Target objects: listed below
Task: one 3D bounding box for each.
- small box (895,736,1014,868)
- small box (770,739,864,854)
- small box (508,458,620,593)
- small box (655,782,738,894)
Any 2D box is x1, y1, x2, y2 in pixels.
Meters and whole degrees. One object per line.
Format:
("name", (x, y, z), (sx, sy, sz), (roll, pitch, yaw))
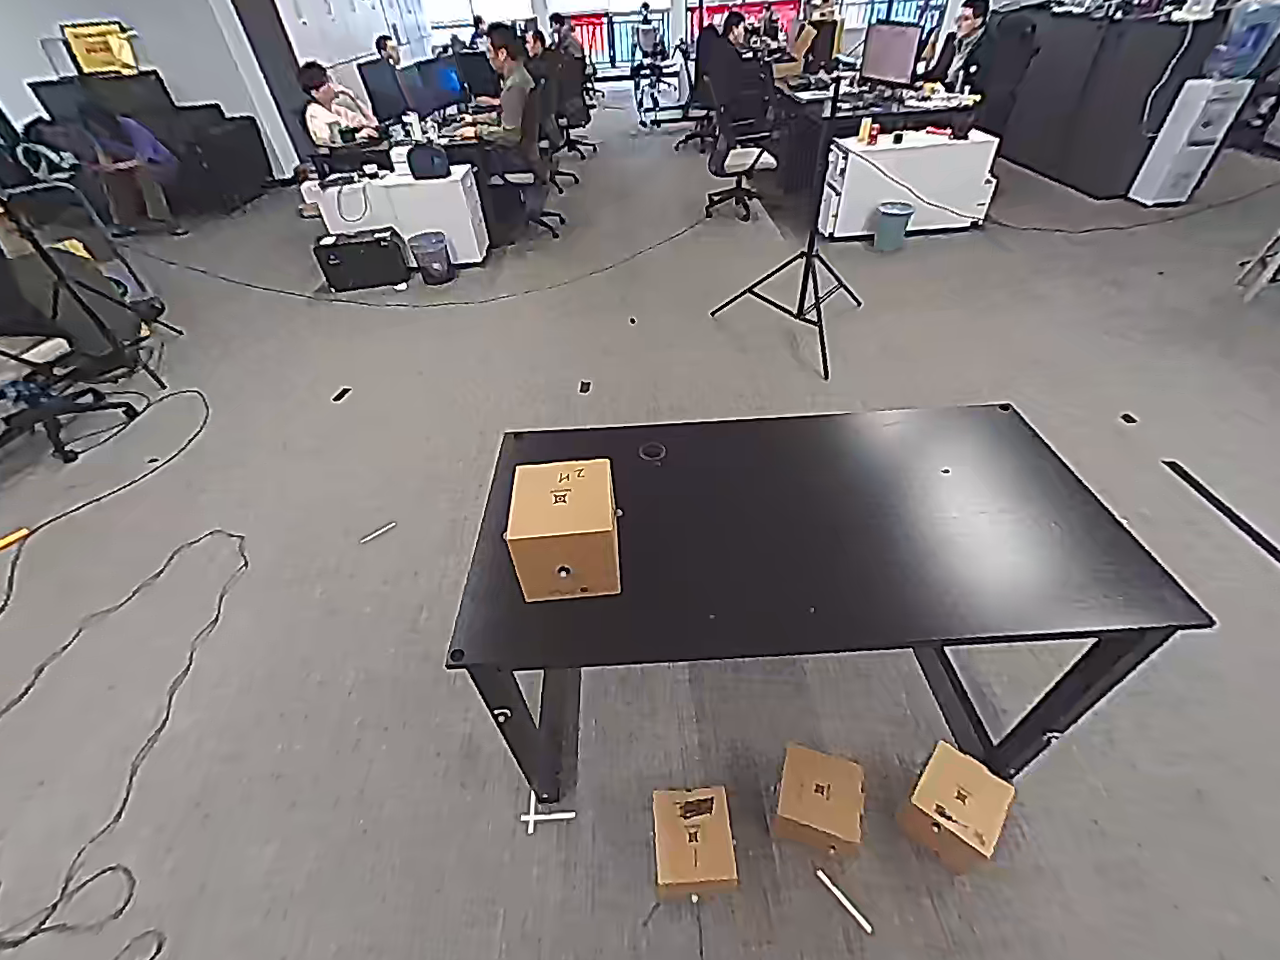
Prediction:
("small box", (0.715, 0.740, 1.246), (0.168, 0.176, 0.179), (29, 53, 31))
("small box", (0.413, 0.747, 1.269), (0.179, 0.176, 0.168), (10, 44, 17))
("small box", (-0.124, 0.085, 0.949), (0.168, 0.176, 0.179), (-5, 42, -1))
("small box", (0.122, 0.810, 1.224), (0.168, 0.176, 0.179), (-5, 44, 0))
